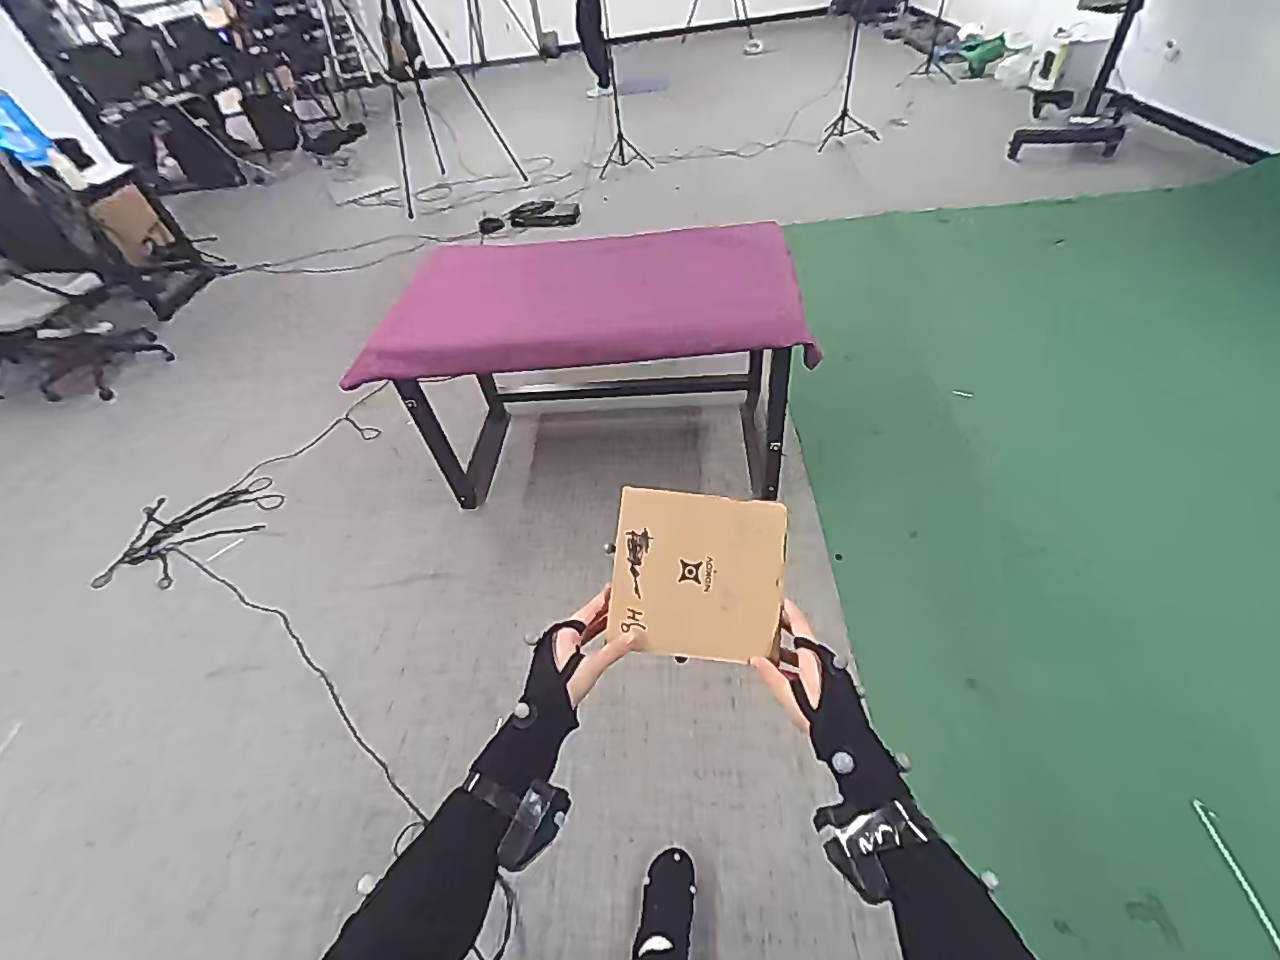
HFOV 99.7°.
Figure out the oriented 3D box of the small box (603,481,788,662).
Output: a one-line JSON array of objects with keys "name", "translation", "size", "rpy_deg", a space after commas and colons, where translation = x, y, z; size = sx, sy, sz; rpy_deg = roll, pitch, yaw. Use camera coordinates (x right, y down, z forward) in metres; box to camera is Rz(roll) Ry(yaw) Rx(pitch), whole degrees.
[{"name": "small box", "translation": [0.058, 0.107, 0.625], "size": [0.179, 0.176, 0.168], "rpy_deg": [7, 77, 1]}]
